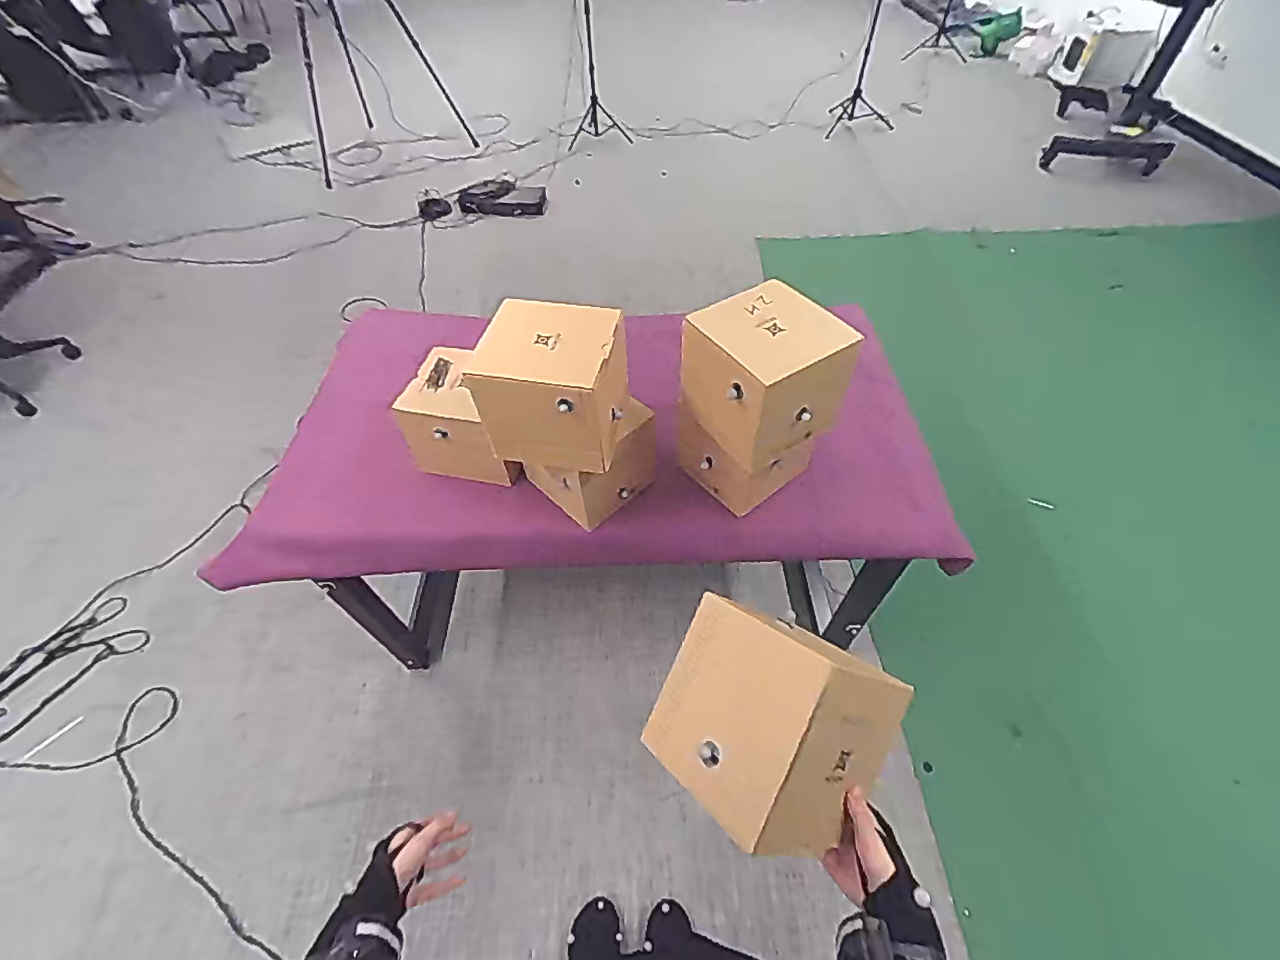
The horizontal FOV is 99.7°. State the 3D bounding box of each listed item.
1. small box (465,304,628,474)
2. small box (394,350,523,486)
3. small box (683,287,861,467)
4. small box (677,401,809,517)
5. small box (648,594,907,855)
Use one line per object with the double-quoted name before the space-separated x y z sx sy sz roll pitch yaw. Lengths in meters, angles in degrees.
"small box" -0.120 -0.128 0.777 0.179 0.176 0.168 9 52 8
"small box" -0.299 -0.108 0.974 0.179 0.176 0.168 10 53 8
"small box" 0.176 -0.141 0.777 0.168 0.176 0.179 -27 54 -19
"small box" 0.181 -0.068 0.931 0.179 0.176 0.168 -33 57 -22
"small box" 0.133 0.245 0.562 0.176 0.168 0.179 20 85 53
